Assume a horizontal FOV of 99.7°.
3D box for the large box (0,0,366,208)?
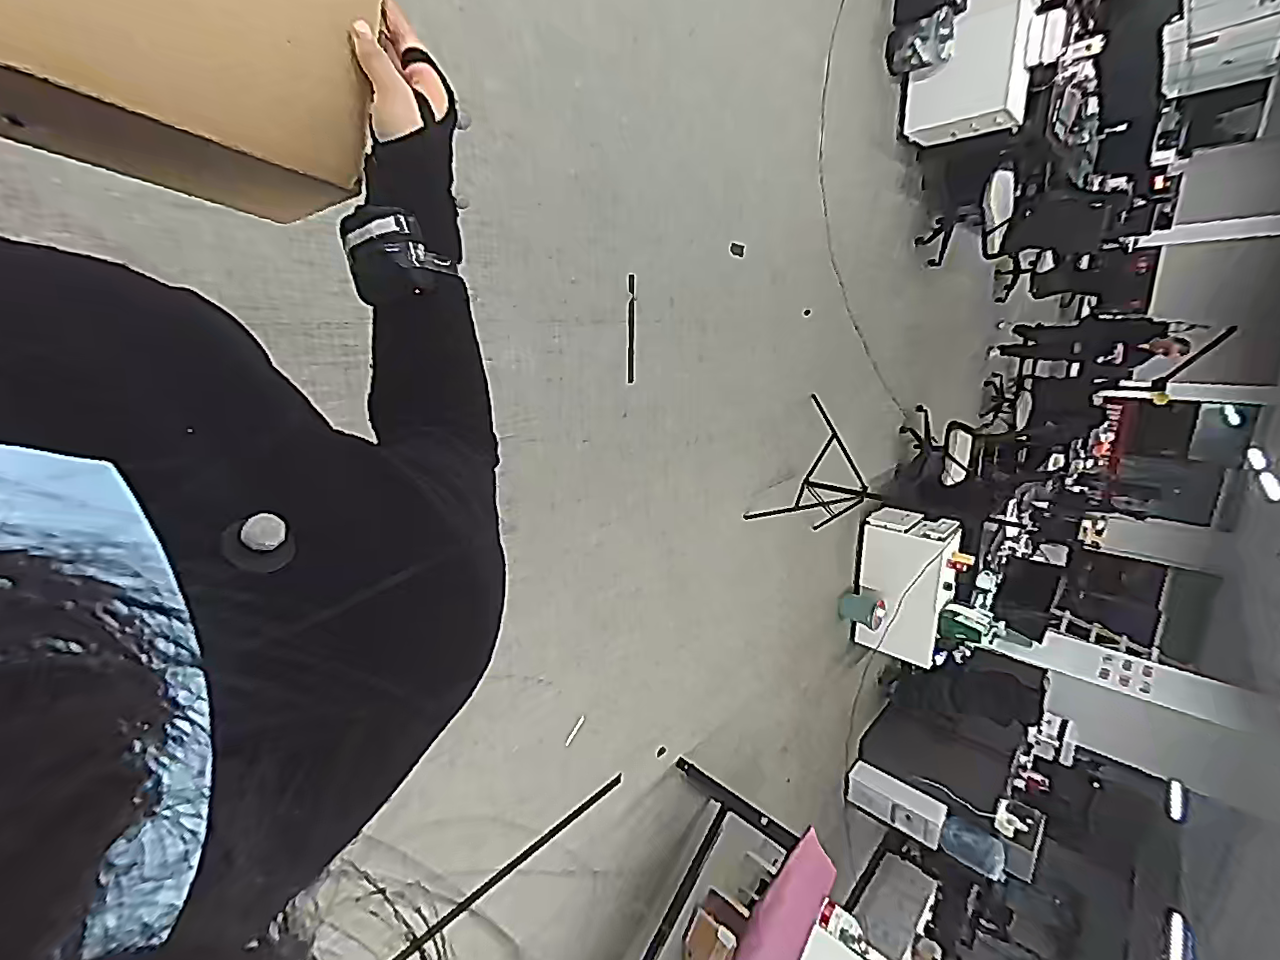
[{"bbox_3d":[-0.451,-0.433,0.389,0.408,0.320,0.320,2,102,-44],"label":"large box"}]
